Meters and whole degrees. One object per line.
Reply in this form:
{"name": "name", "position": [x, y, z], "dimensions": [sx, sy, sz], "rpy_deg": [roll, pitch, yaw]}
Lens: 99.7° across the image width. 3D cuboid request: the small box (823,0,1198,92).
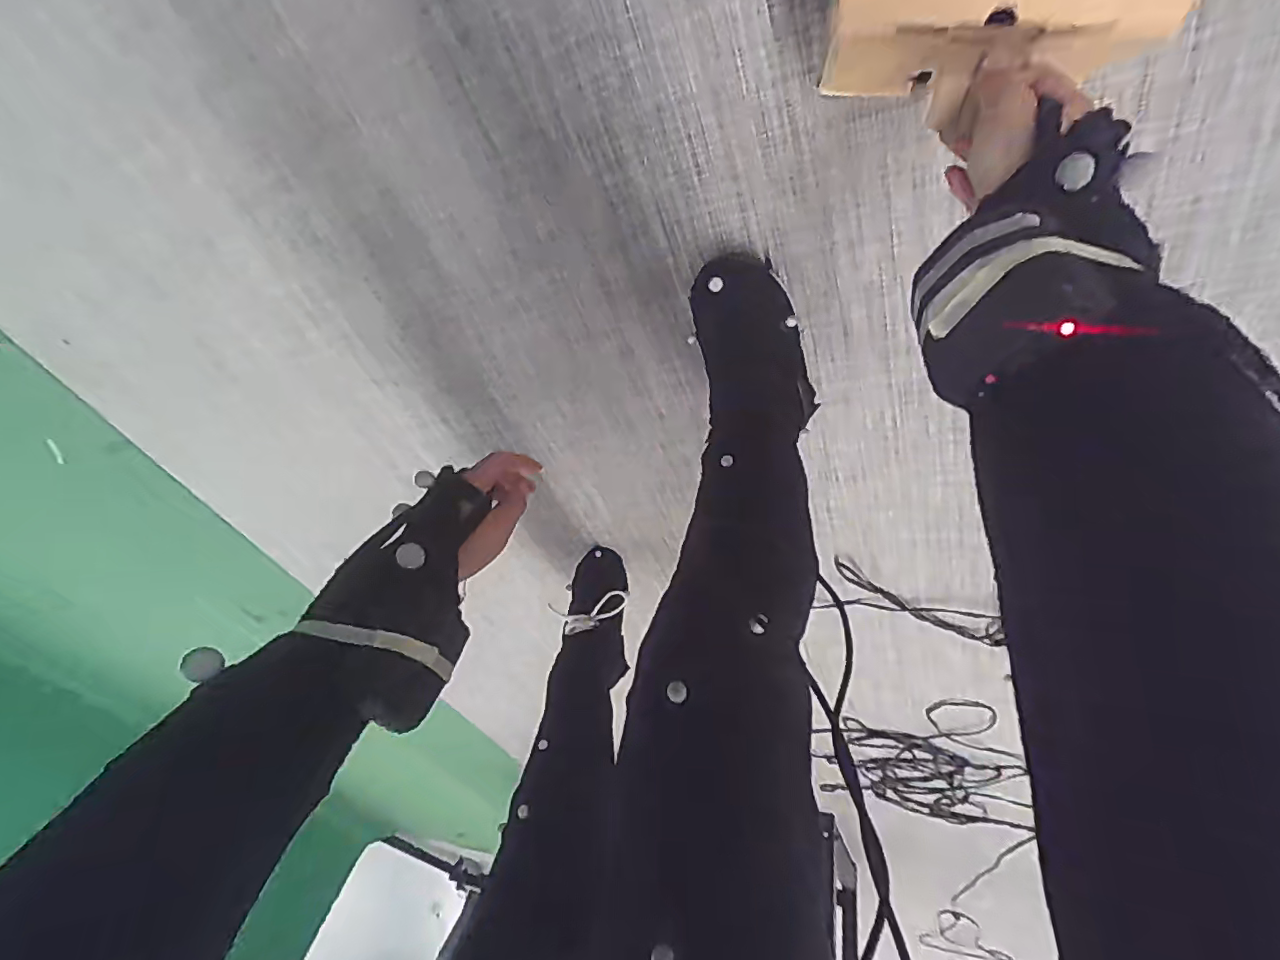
{"name": "small box", "position": [0.207, -0.341, 0.304], "dimensions": [0.168, 0.176, 0.179], "rpy_deg": [9, 120, 9]}
